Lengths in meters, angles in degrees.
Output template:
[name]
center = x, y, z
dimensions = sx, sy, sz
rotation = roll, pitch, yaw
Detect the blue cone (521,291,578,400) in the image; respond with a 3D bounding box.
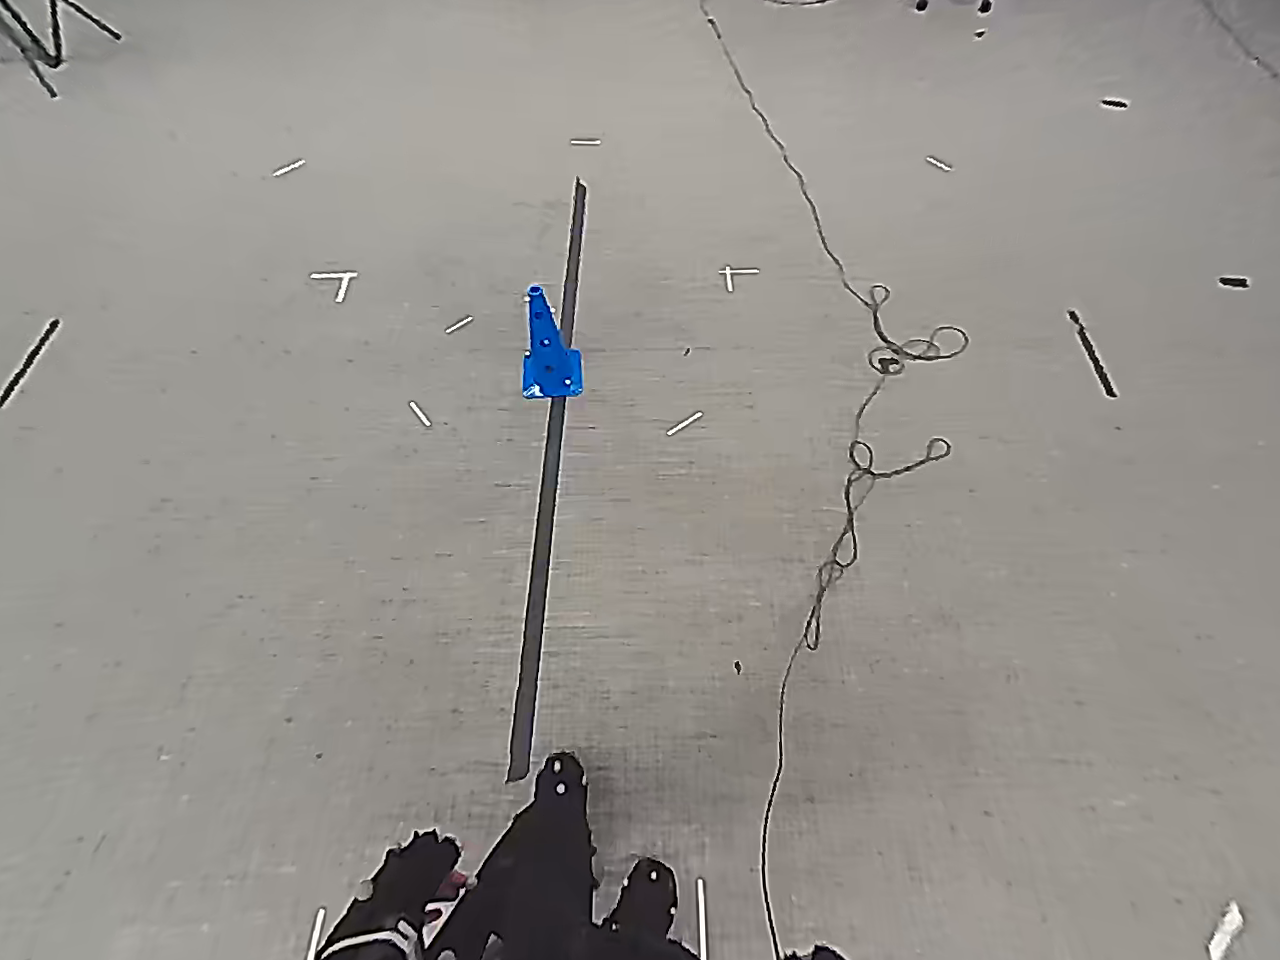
[blue cone]
center = -0.309, -0.435, 1.699
dimensions = 0.192, 0.380, 0.193
rotation = -3, 60, -1
